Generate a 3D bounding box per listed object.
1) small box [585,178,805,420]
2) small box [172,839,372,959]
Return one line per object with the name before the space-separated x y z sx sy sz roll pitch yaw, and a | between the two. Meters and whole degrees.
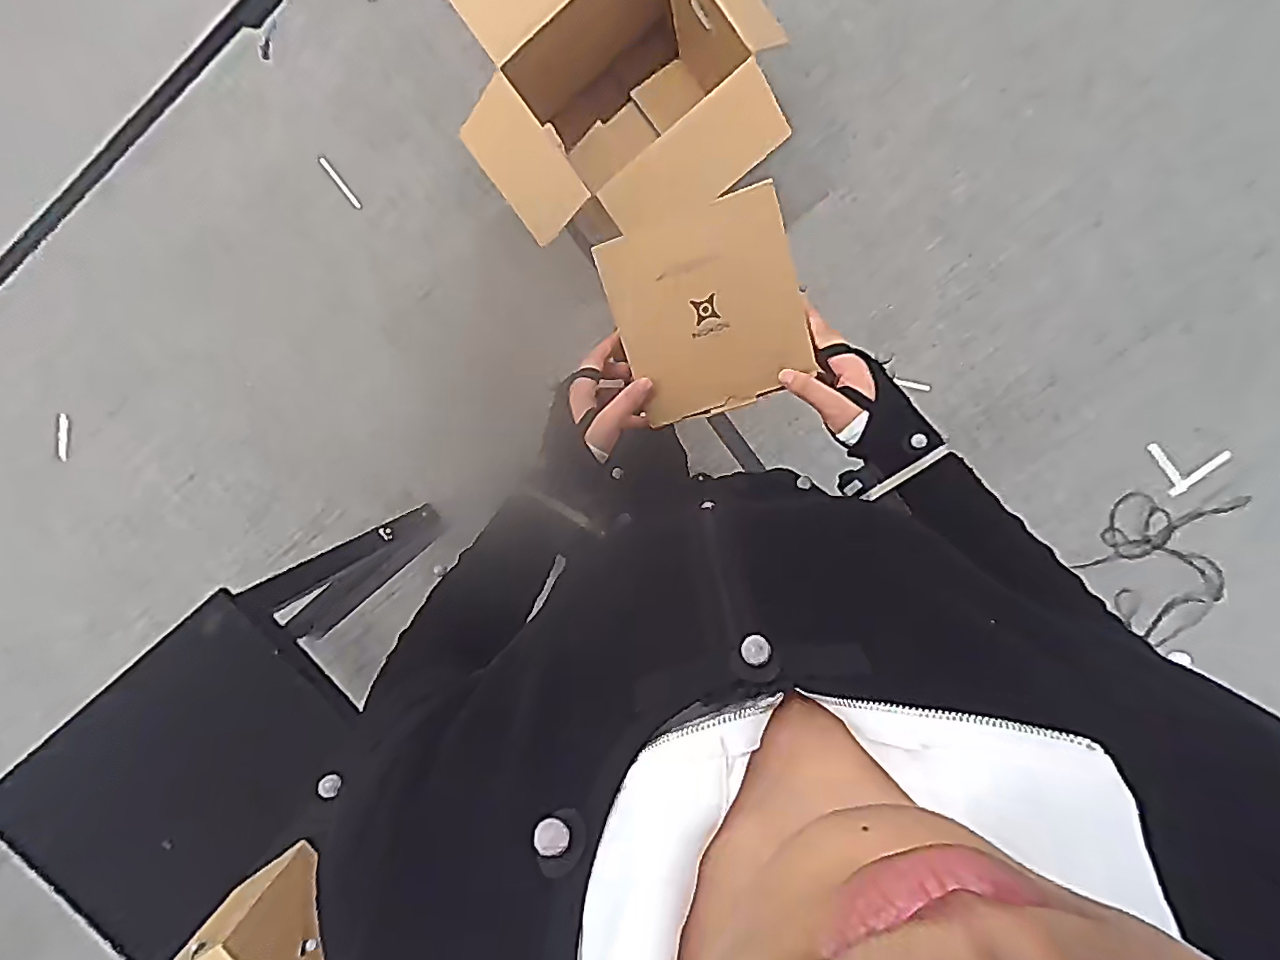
small box | 0.061 -0.183 0.570 0.168 0.176 0.179 -17 105 11
small box | -0.545 0.692 0.803 0.168 0.176 0.179 -37 97 8
